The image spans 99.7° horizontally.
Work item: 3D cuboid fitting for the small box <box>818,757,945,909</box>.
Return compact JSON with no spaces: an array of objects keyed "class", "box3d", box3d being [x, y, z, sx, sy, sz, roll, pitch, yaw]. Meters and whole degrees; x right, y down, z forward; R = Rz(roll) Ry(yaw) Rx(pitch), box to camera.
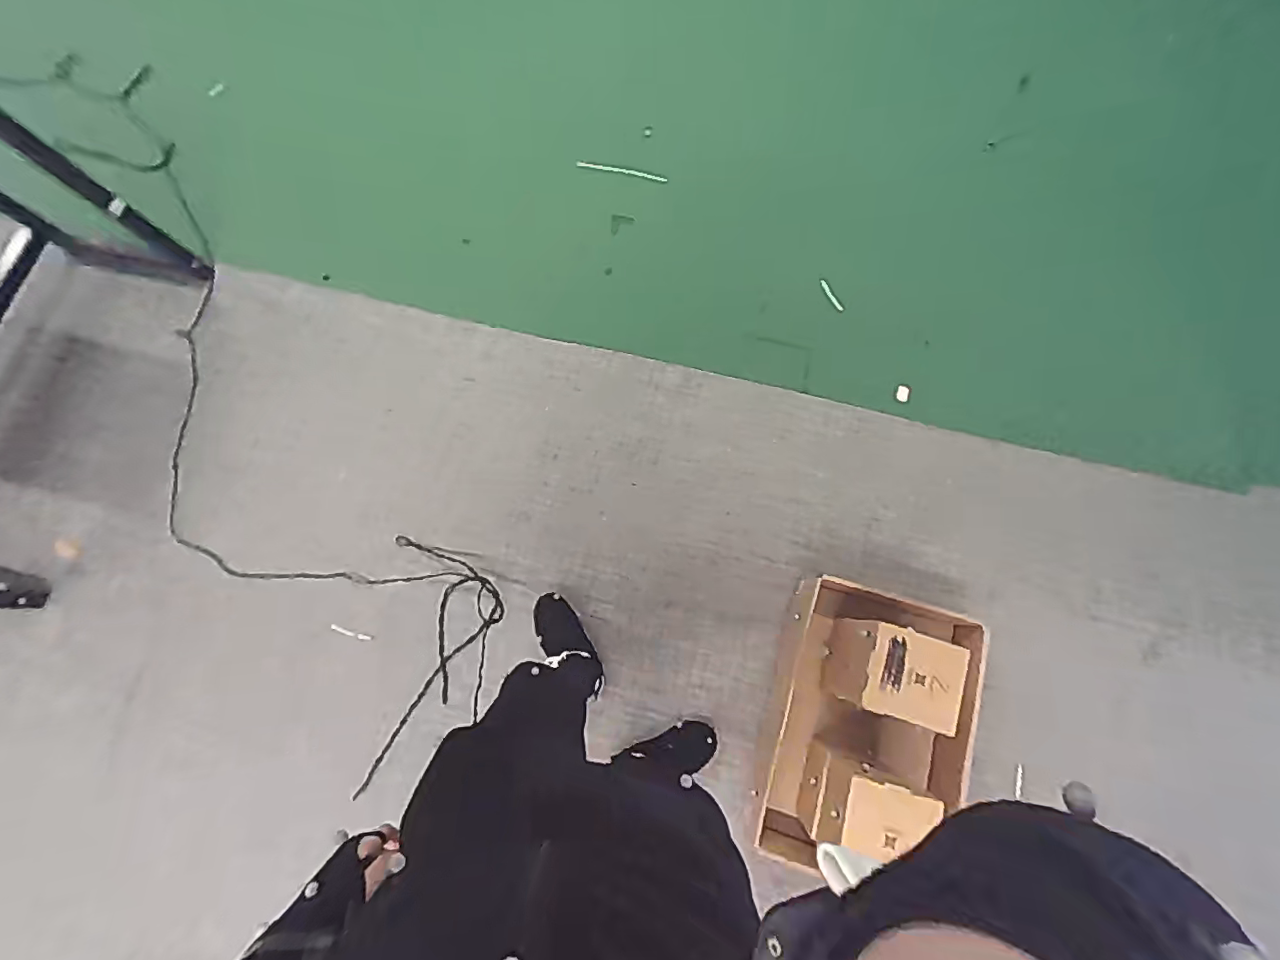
[{"class":"small box","box3d":[0.454,0.661,1.040,0.168,0.176,0.179,14,77,9]}]
